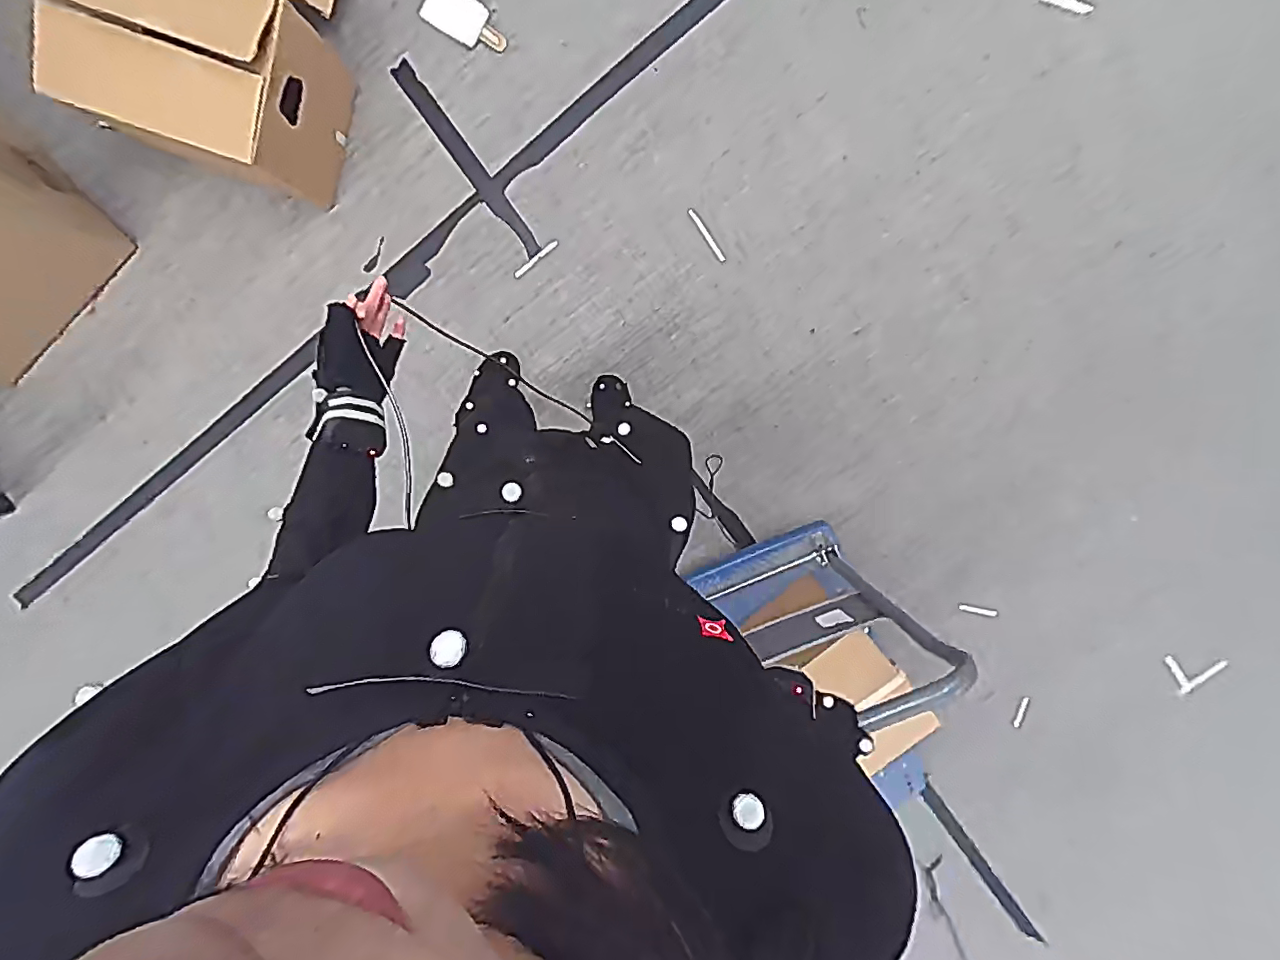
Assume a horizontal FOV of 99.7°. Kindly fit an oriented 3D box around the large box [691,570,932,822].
[{"bbox_3d":[0.384,0.496,1.305,0.408,0.320,0.320,-41,100,7],"label":"large box"}]
